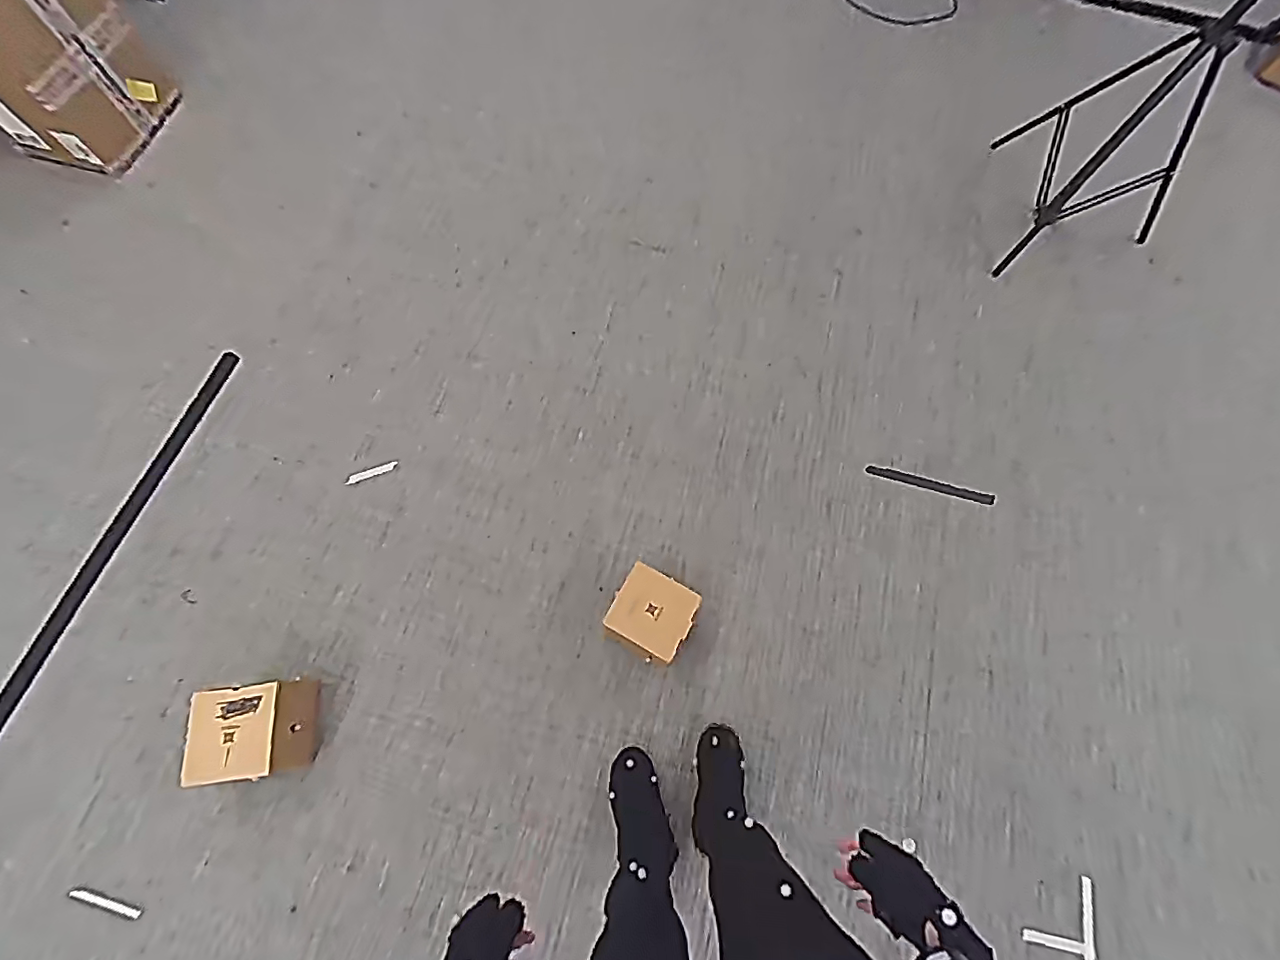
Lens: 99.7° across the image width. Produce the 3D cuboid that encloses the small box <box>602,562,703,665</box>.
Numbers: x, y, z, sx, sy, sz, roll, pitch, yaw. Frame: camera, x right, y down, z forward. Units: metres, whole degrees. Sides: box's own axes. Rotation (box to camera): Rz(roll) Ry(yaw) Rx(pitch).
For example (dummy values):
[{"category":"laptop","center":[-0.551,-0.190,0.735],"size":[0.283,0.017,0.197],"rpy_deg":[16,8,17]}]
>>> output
[{"category":"small box","center":[0.026,0.319,1.274],"size":[0.179,0.176,0.168],"rpy_deg":[27,69,8]}]

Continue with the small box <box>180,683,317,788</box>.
[{"category":"small box","center":[-0.812,0.530,1.142],"size":[0.168,0.176,0.179],"rpy_deg":[-5,71,-5]}]
